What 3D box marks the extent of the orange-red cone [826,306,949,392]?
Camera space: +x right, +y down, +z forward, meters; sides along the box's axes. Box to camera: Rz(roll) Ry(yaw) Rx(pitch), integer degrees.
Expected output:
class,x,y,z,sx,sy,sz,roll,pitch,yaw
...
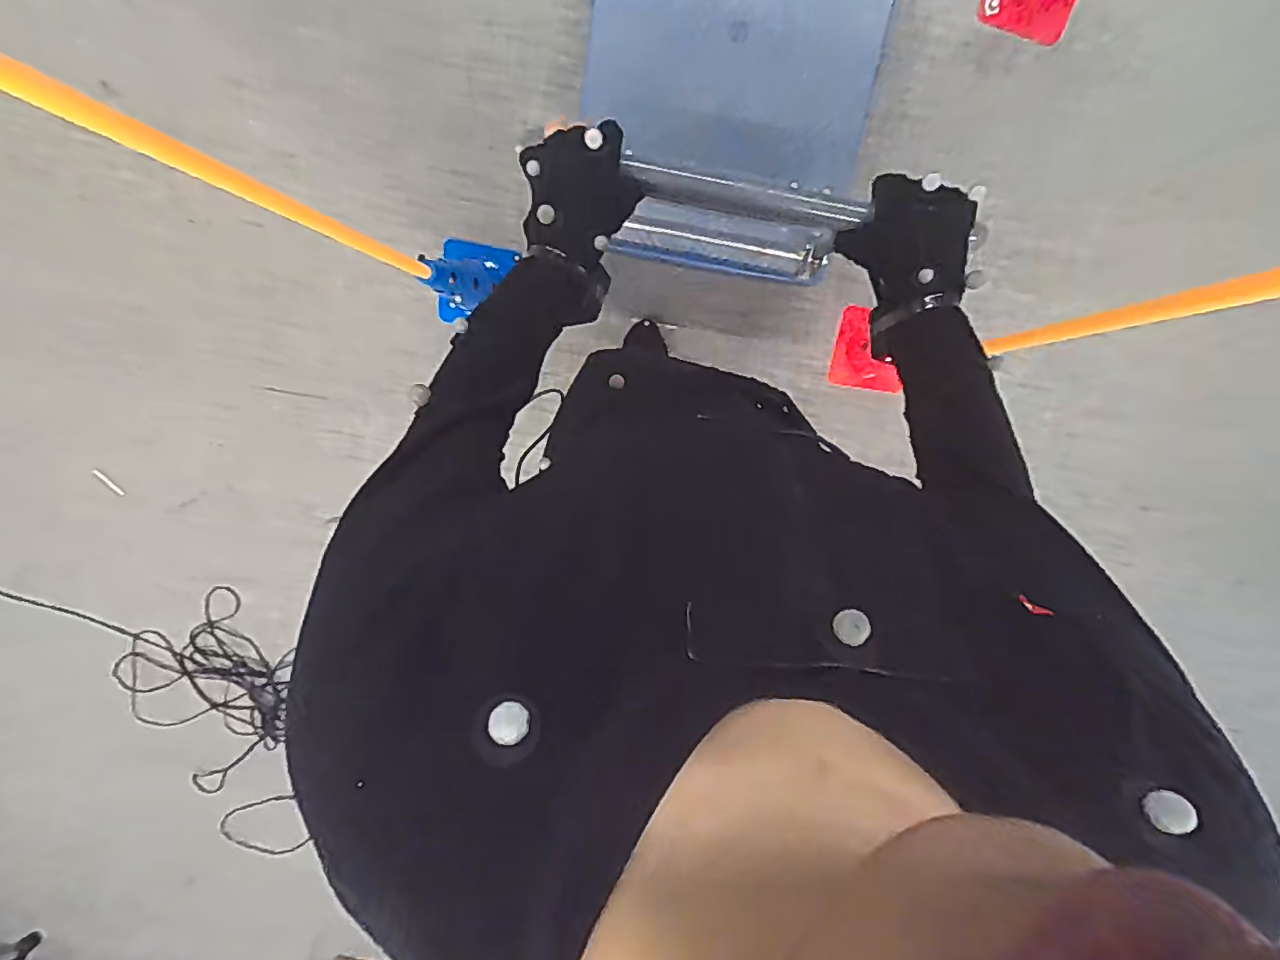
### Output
class,x,y,z,sx,sy,sz,roll,pitch,yaw
orange-red cone,0.590,-0.294,1.230,0.199,0.360,0.198,10,104,-1
